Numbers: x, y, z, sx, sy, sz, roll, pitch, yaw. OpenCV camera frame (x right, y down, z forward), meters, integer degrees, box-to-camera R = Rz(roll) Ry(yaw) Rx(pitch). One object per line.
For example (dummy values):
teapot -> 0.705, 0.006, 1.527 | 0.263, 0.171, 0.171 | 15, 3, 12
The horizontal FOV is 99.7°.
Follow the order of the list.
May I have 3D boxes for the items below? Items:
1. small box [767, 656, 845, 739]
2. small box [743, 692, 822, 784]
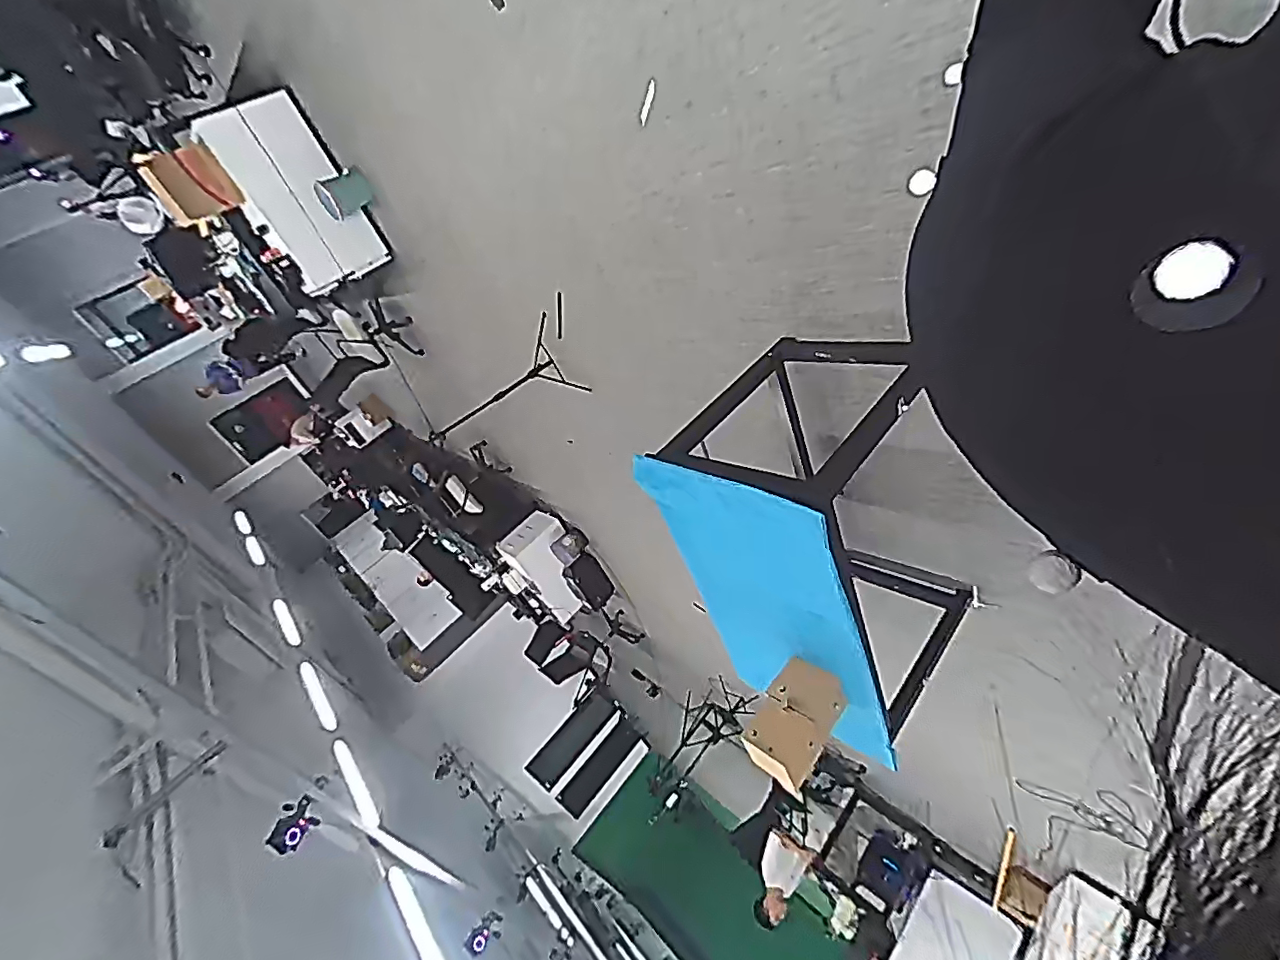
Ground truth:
small box -> 0.555, 0.718, 1.799 | 0.179, 0.176, 0.168 | 17, 143, 45
small box -> 0.450, 0.821, 1.718 | 0.168, 0.176, 0.179 | 18, 142, 47
